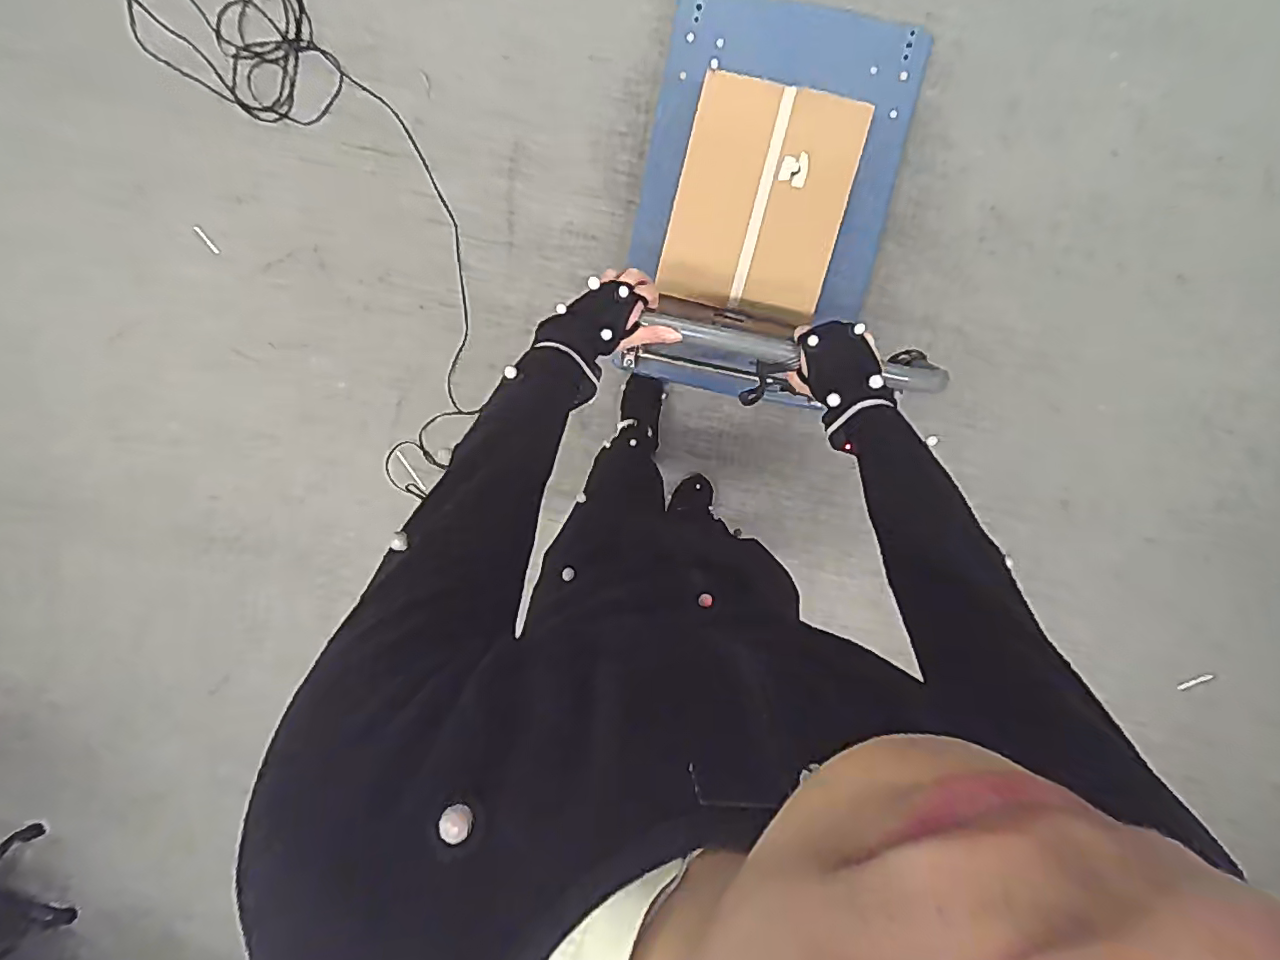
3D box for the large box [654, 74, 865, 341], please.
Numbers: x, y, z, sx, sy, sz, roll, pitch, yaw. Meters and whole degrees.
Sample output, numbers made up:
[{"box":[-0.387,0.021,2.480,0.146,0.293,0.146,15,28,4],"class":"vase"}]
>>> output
[{"box":[0.230,-0.542,1.162,0.320,0.320,0.408,15,100,2],"class":"large box"}]
